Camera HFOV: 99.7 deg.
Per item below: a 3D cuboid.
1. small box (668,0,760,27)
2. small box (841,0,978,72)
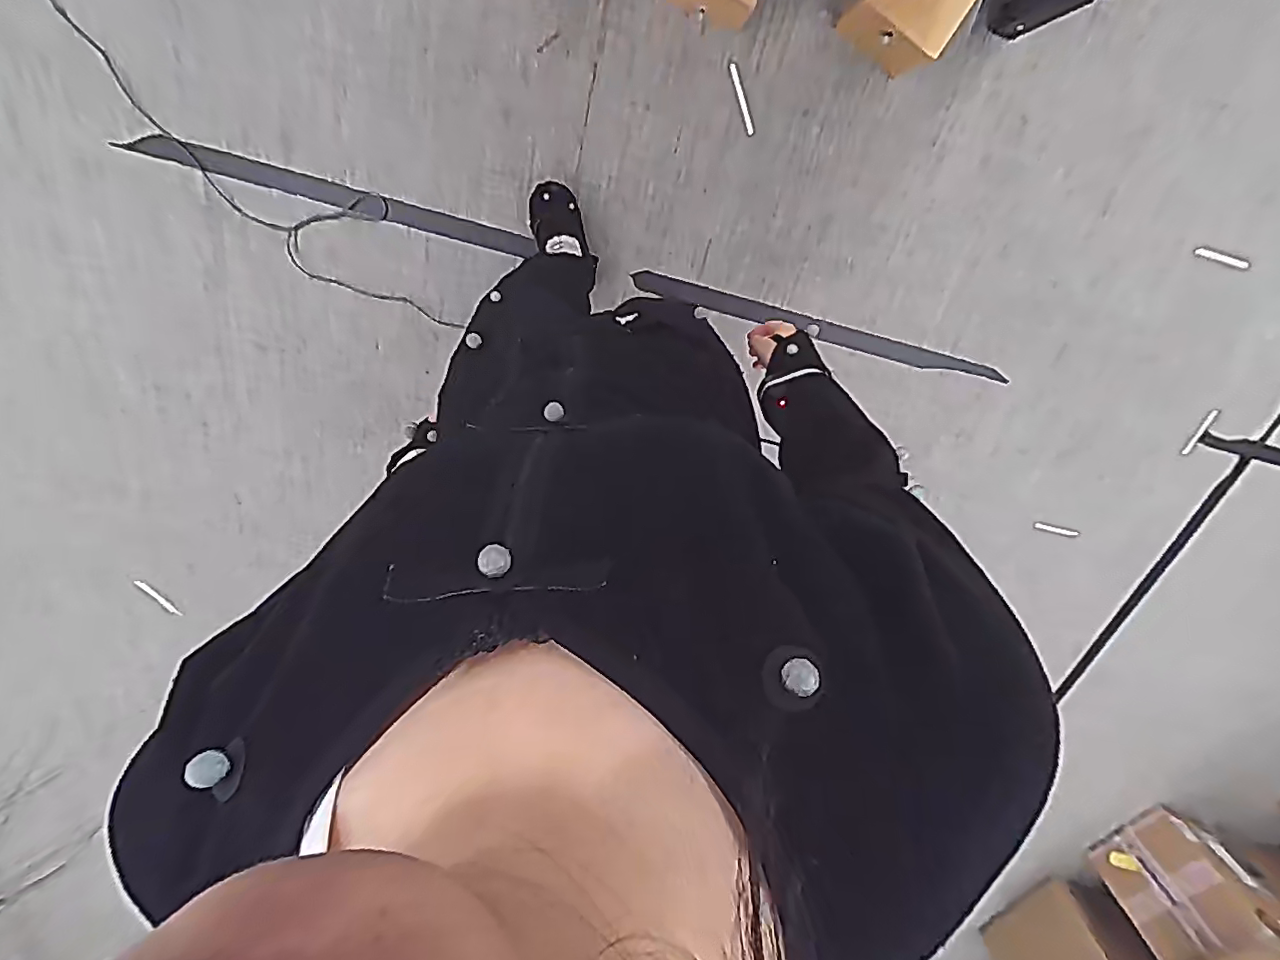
[{"bbox_3d":[0.153,-0.986,1.005,0.179,0.176,0.168,16,115,-9],"label":"small box"},{"bbox_3d":[0.527,-0.930,1.044,0.179,0.176,0.168,29,113,-13],"label":"small box"}]
